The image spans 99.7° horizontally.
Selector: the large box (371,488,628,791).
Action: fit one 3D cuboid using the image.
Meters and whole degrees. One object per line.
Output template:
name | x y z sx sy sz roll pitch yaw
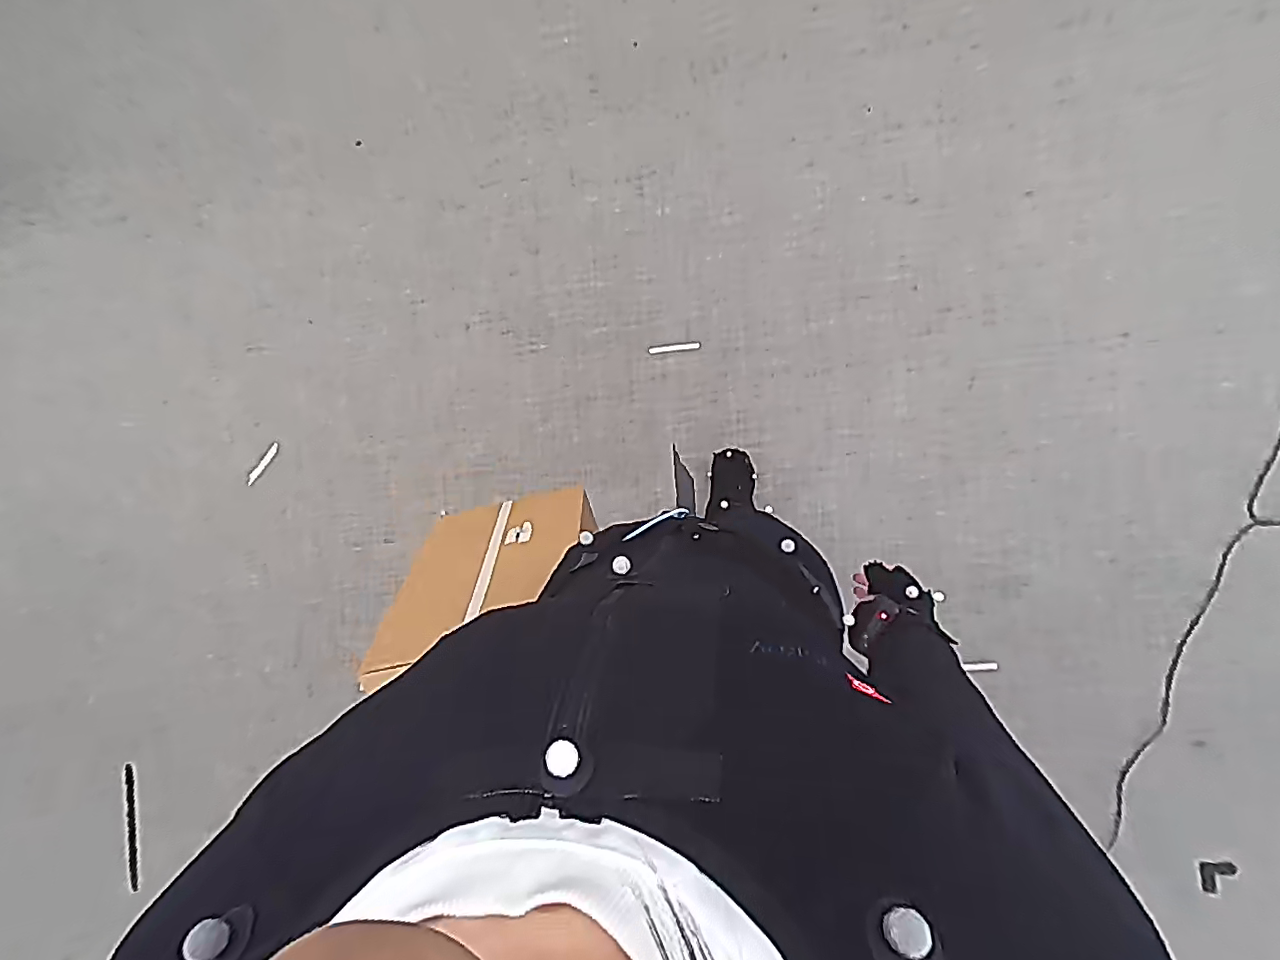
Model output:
large box | -0.212 0.271 0.997 0.320 0.408 0.320 -12 118 4
